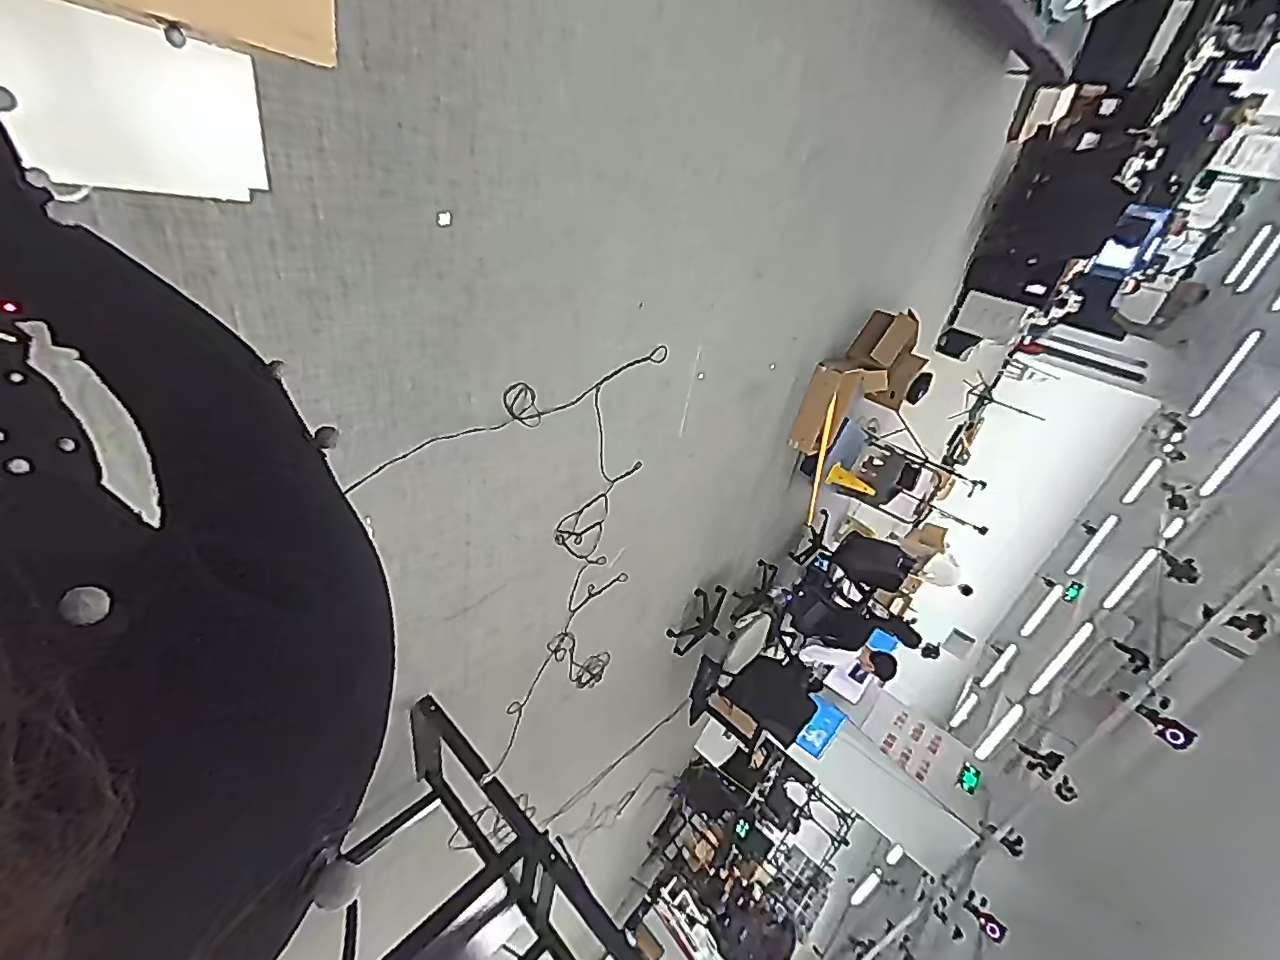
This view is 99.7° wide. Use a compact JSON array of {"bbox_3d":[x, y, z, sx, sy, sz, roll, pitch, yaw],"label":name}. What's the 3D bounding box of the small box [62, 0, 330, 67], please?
[{"bbox_3d":[-0.359,-0.436,0.401,0.179,0.176,0.168,-19,133,-47],"label":"small box"}]
